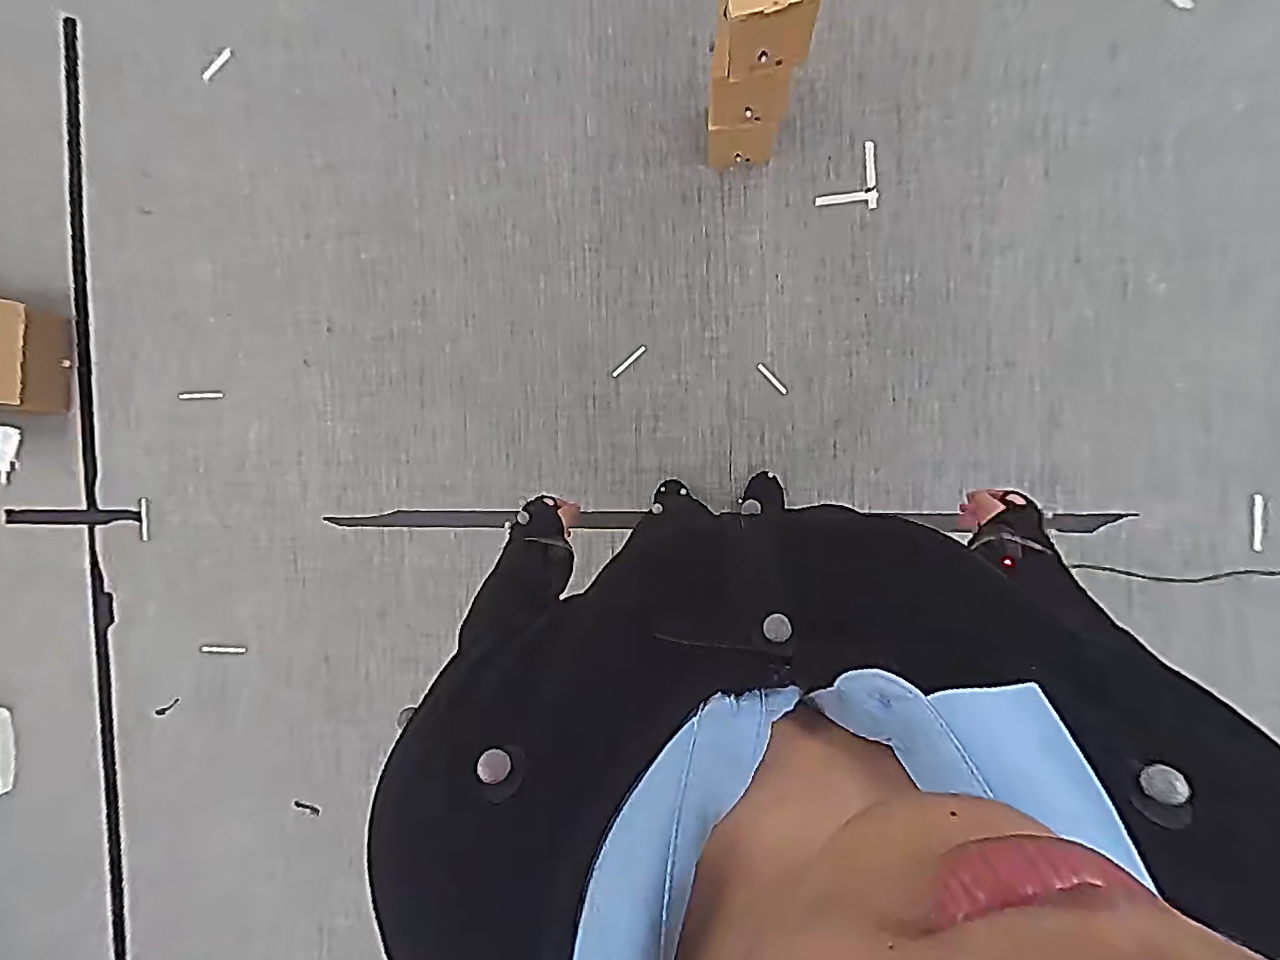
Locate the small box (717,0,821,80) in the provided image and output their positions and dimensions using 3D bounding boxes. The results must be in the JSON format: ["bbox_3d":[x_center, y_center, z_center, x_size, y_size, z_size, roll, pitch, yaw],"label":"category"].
[{"bbox_3d":[0.243,-0.937,1.052,0.168,0.176,0.179,-9,91,8],"label":"small box"}]

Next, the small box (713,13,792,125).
[{"bbox_3d":[0.251,-0.939,1.215,0.168,0.176,0.179,3,92,8],"label":"small box"}]
